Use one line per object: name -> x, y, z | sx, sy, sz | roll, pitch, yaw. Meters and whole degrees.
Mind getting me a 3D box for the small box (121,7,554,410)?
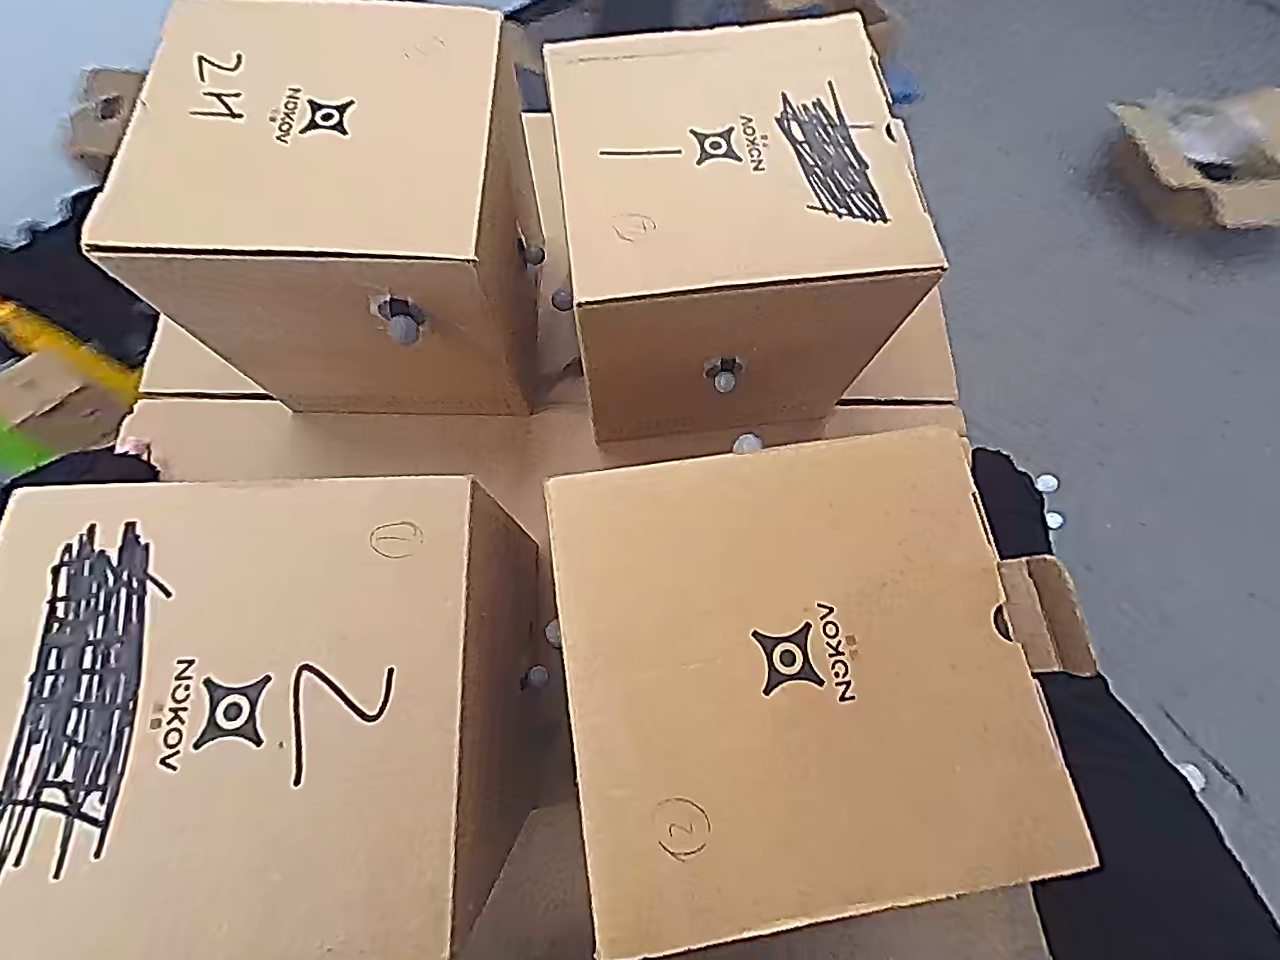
small box -> -0.156, -0.155, 0.355 | 0.179, 0.176, 0.168 | 3, 71, 0
